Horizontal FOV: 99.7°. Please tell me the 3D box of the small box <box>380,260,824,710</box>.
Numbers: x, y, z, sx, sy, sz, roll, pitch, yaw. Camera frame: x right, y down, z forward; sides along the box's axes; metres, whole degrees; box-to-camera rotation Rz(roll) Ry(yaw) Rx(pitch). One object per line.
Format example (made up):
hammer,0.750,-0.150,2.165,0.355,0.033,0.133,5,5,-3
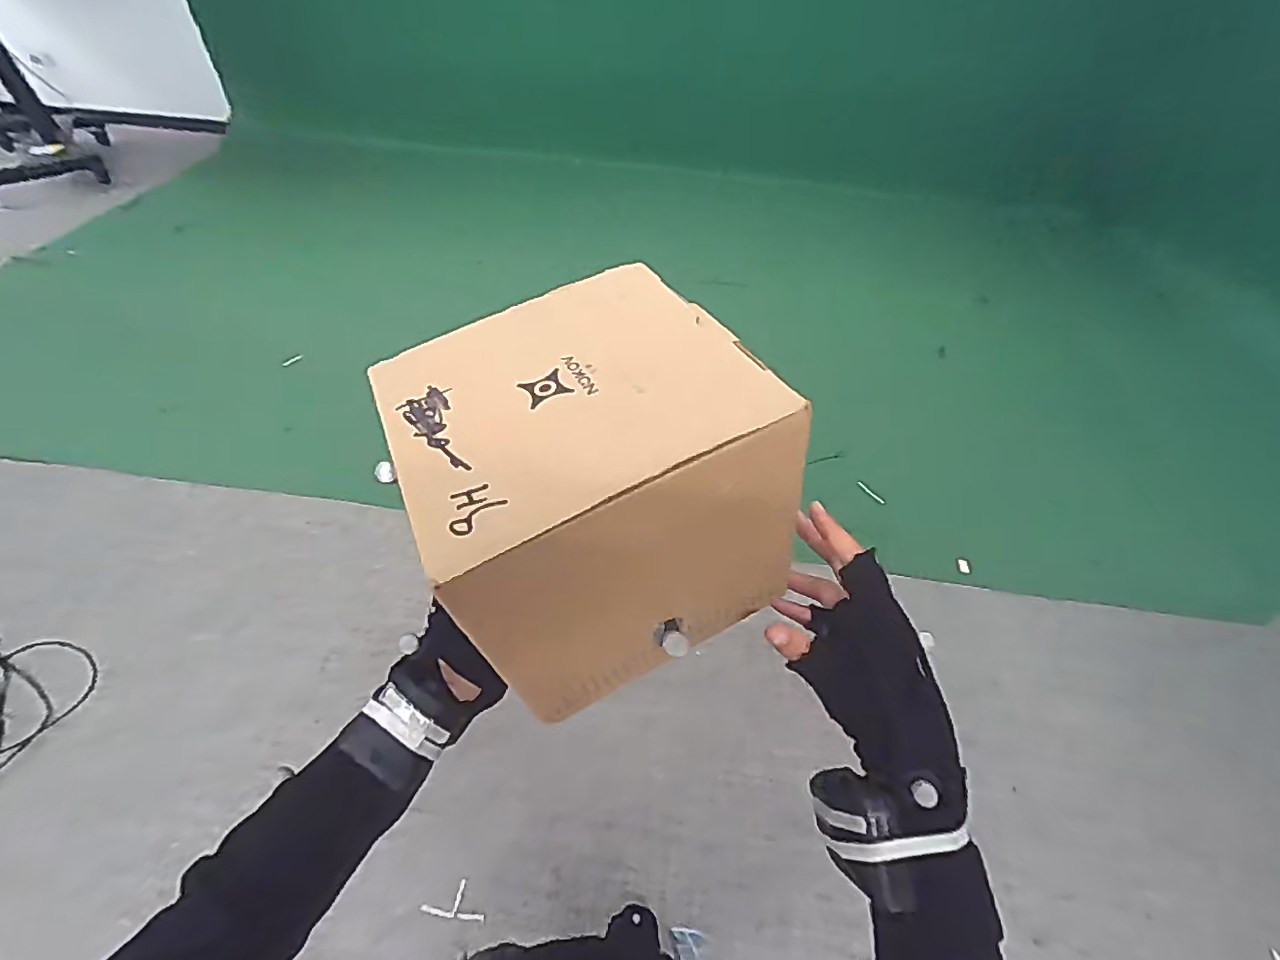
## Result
small box,-0.023,0.003,0.325,0.179,0.176,0.168,-25,50,-13
